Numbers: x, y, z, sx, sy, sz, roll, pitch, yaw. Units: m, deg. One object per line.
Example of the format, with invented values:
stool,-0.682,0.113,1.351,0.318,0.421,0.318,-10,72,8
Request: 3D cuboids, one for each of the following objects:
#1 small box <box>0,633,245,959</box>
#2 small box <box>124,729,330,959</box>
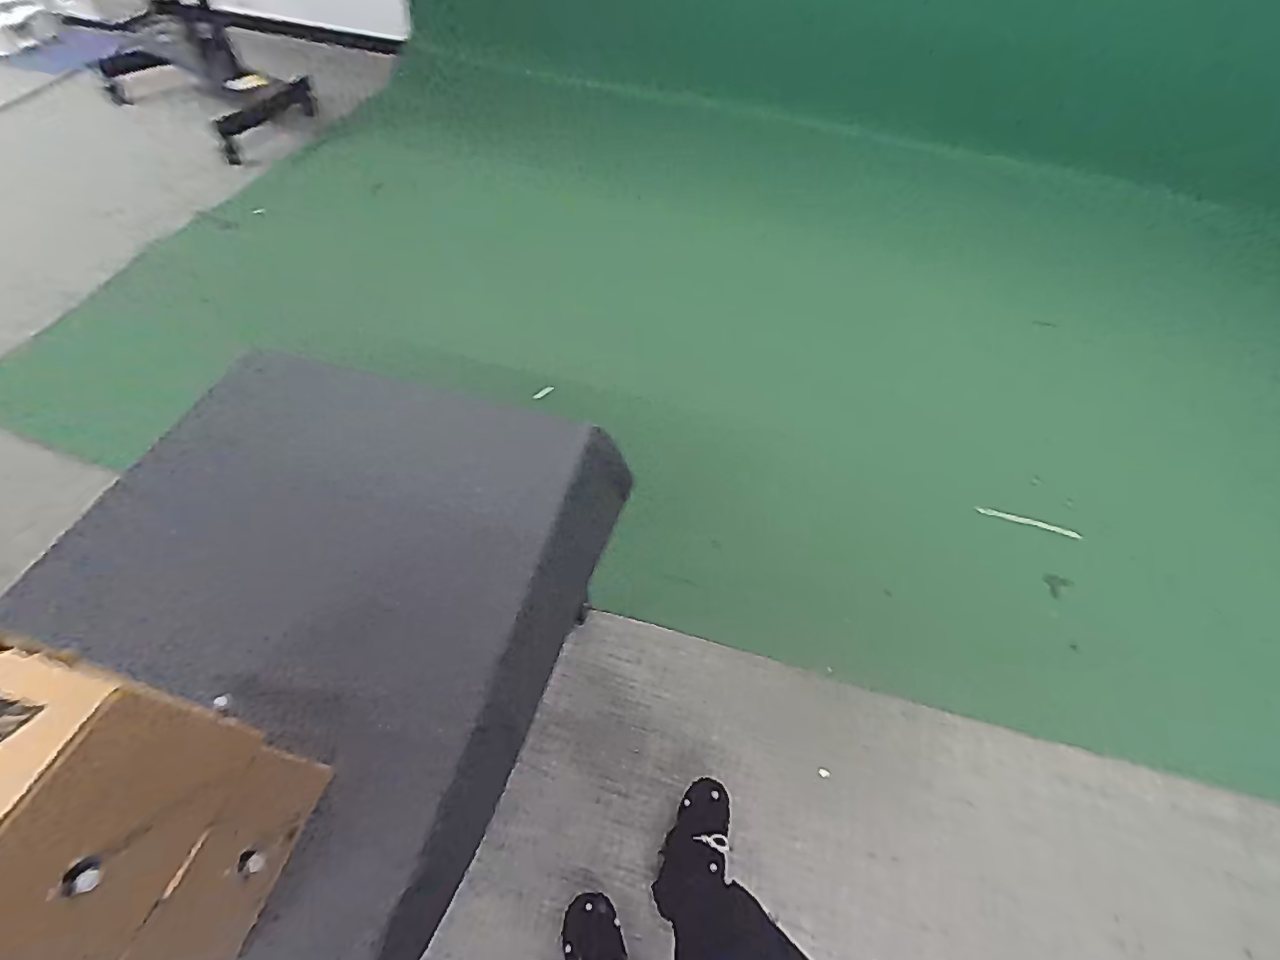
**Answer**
small box,-0.407,0.212,0.348,0.168,0.176,0.179,15,58,8
small box,-0.422,0.307,0.482,0.179,0.176,0.168,13,56,5
